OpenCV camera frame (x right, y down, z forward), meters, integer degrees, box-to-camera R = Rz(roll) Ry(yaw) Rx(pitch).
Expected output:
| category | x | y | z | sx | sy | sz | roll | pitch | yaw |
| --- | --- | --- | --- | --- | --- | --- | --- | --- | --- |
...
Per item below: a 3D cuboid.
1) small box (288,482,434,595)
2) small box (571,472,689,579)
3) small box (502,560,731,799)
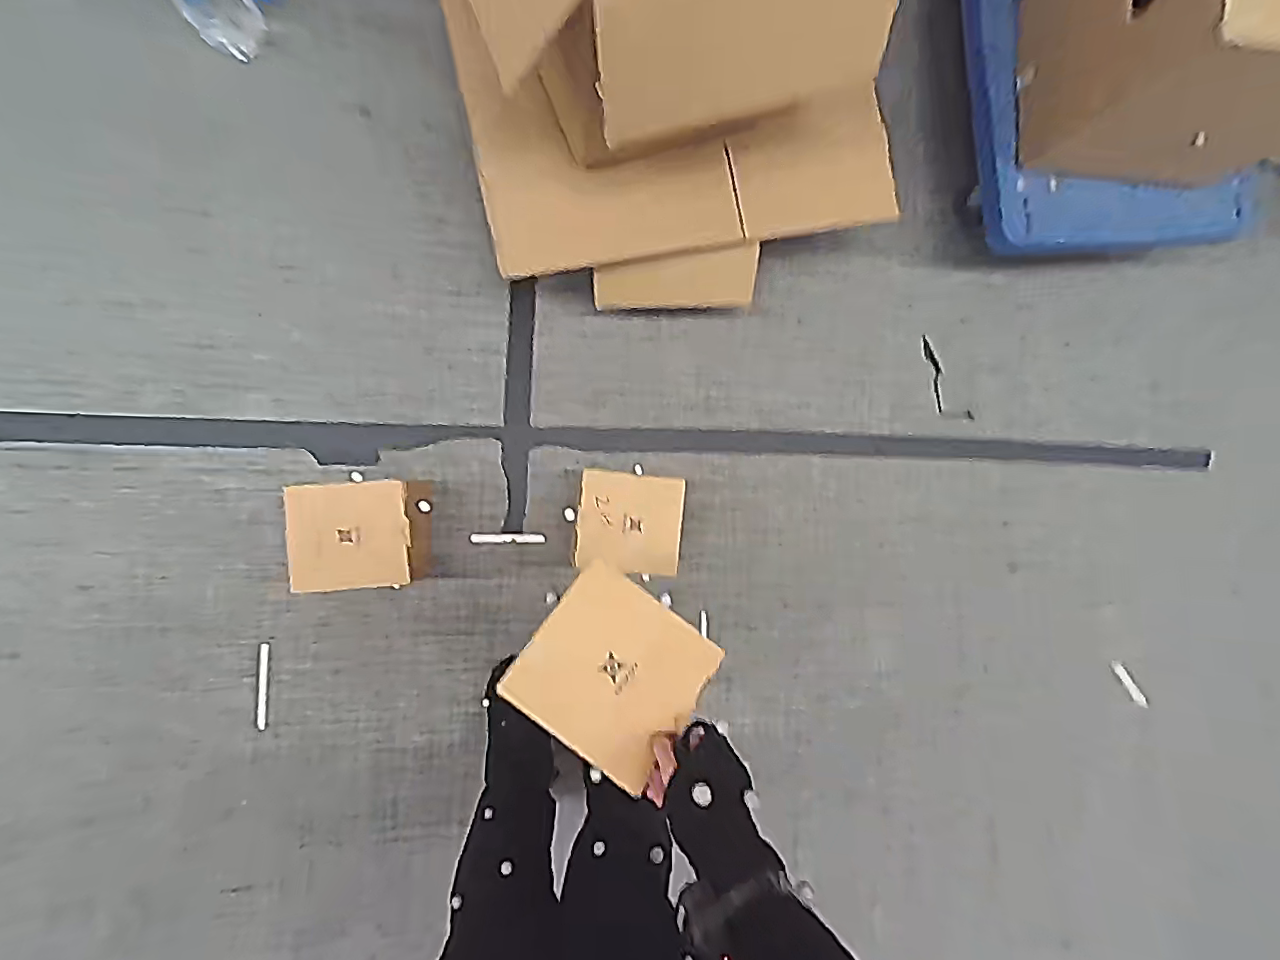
| category | x | y | z | sx | sy | sz | roll | pitch | yaw |
| --- | --- | --- | --- | --- | --- | --- | --- | --- | --- |
| small box | -0.452 | 0.089 | 0.905 | 0.179 | 0.176 | 0.168 | -4 | 89 | -8 |
| small box | -0.025 | 0.076 | 0.973 | 0.179 | 0.176 | 0.168 | 6 | 88 | -10 |
| small box | -0.034 | 0.215 | 0.614 | 0.179 | 0.176 | 0.168 | 36 | 72 | -1 |
